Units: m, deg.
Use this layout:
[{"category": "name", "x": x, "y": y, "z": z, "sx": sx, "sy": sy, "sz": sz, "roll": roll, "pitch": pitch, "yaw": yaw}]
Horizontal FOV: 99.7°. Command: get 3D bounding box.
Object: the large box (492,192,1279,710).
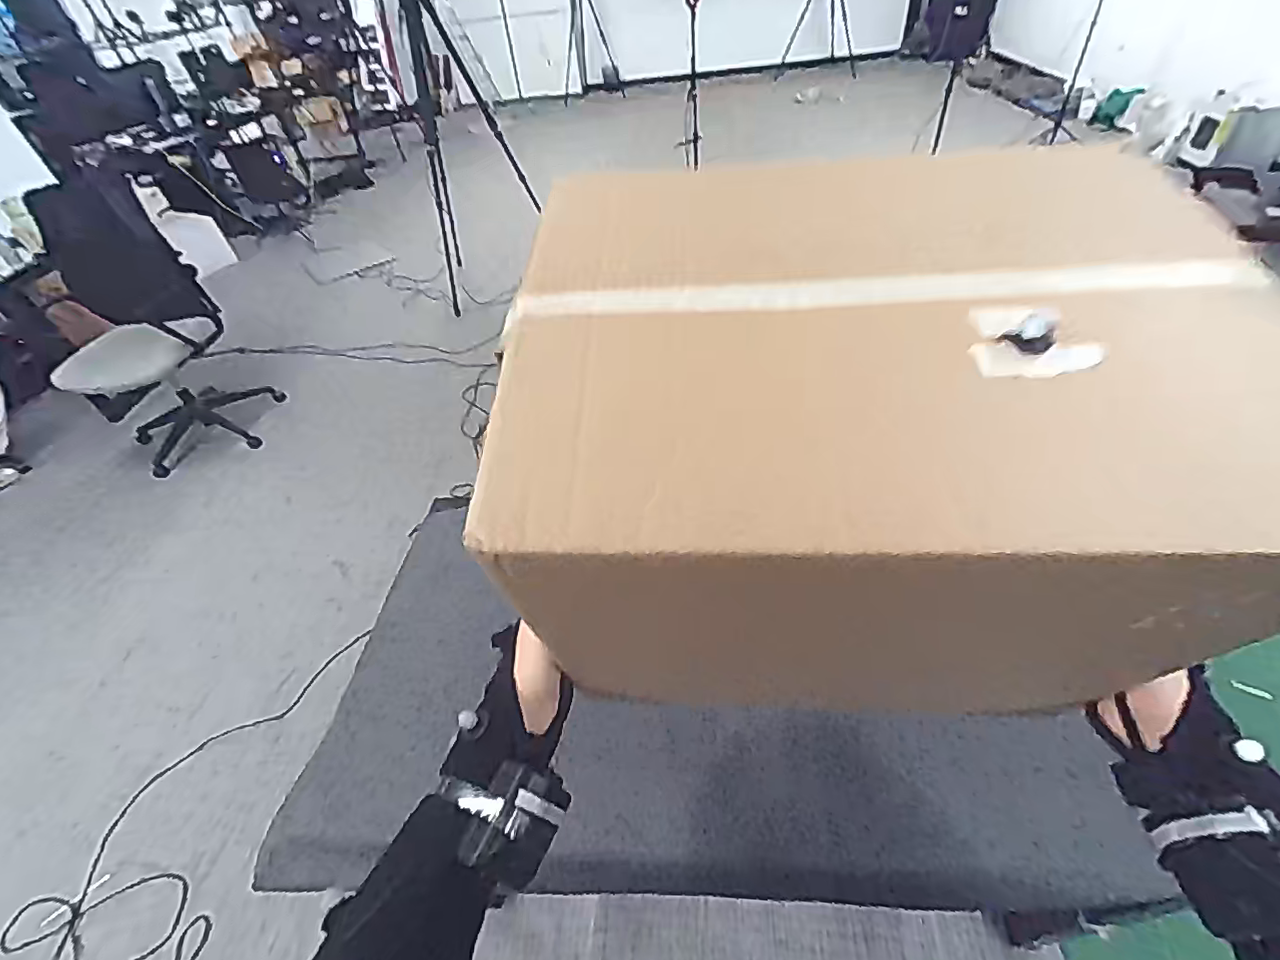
[{"category": "large box", "x": 0.136, "y": -0.002, "z": 0.454, "sx": 0.408, "sy": 0.320, "sz": 0.320, "roll": -1, "pitch": 56, "yaw": 5}]
